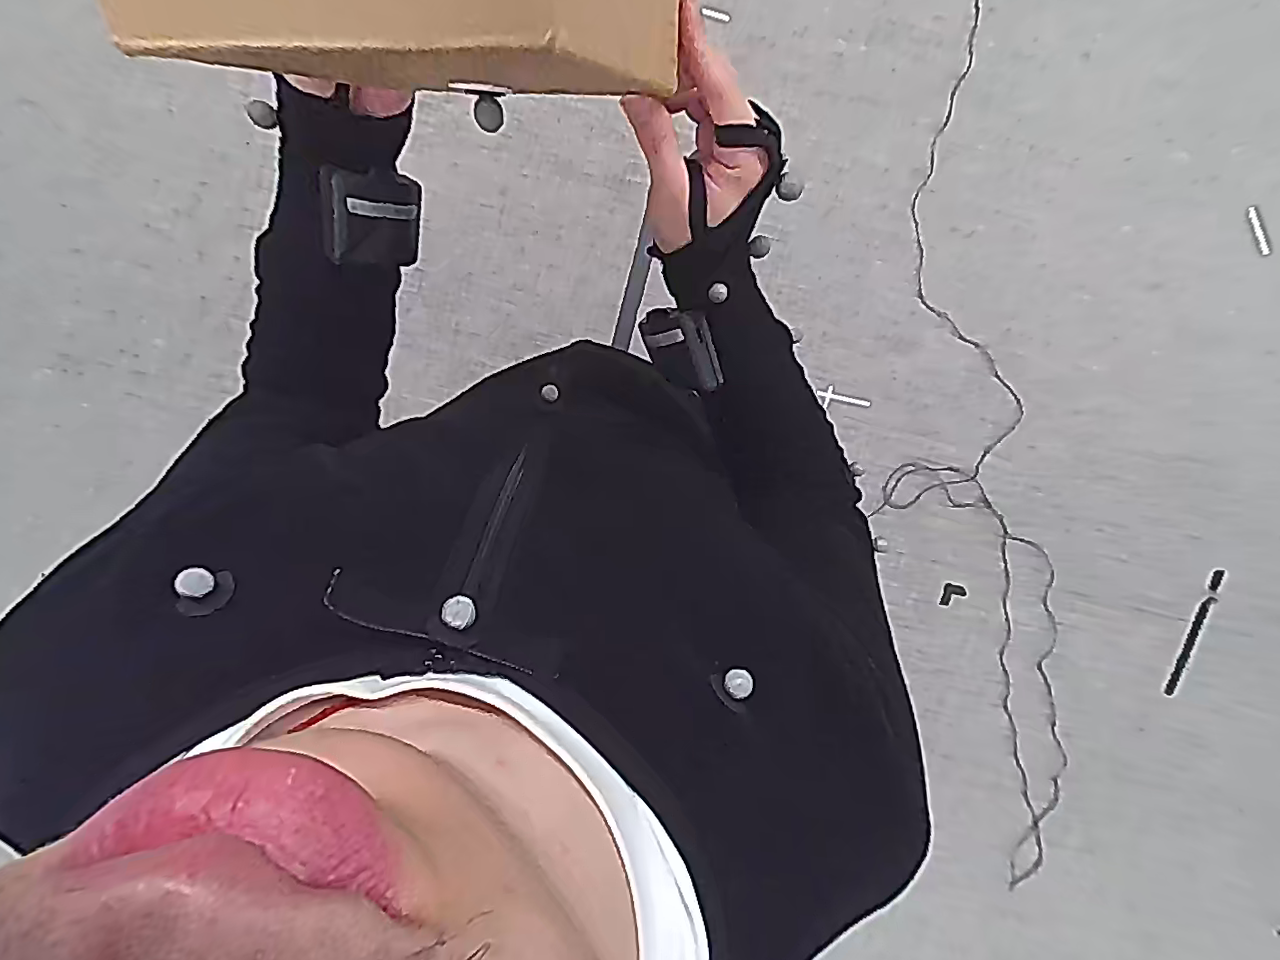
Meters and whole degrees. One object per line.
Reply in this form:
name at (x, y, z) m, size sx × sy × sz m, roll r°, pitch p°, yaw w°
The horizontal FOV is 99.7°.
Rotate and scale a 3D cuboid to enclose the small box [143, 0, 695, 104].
small box at (-0.070, -0.255, 0.202) m, size 0.168 × 0.176 × 0.179 m, roll 9°, pitch 122°, yaw 13°
